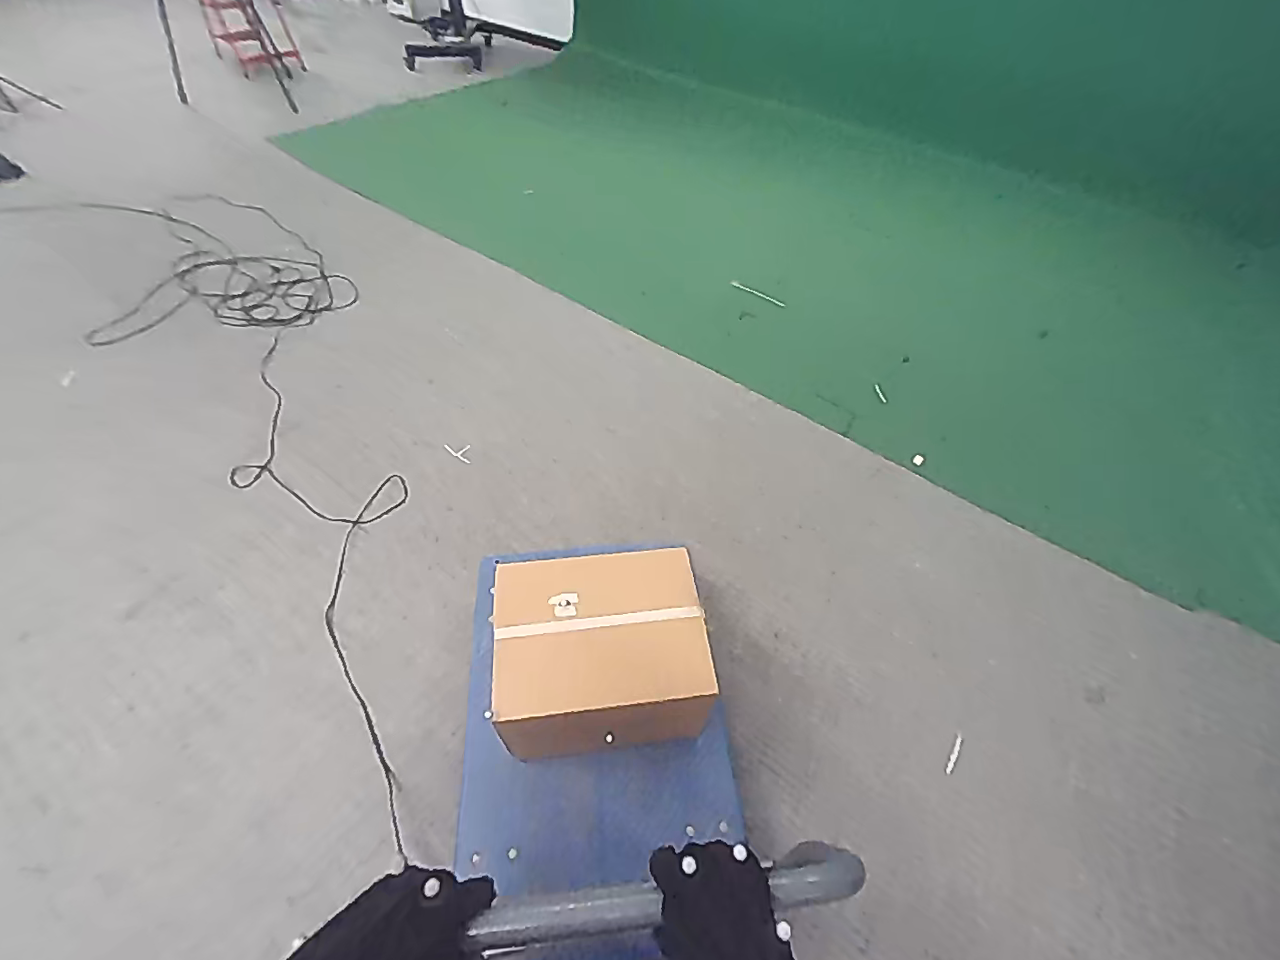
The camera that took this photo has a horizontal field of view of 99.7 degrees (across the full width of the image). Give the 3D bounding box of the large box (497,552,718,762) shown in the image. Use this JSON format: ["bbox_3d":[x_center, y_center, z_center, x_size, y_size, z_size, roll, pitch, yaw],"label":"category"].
[{"bbox_3d":[-0.079,0.385,1.167,0.408,0.320,0.320,-5,51,-7],"label":"large box"}]
